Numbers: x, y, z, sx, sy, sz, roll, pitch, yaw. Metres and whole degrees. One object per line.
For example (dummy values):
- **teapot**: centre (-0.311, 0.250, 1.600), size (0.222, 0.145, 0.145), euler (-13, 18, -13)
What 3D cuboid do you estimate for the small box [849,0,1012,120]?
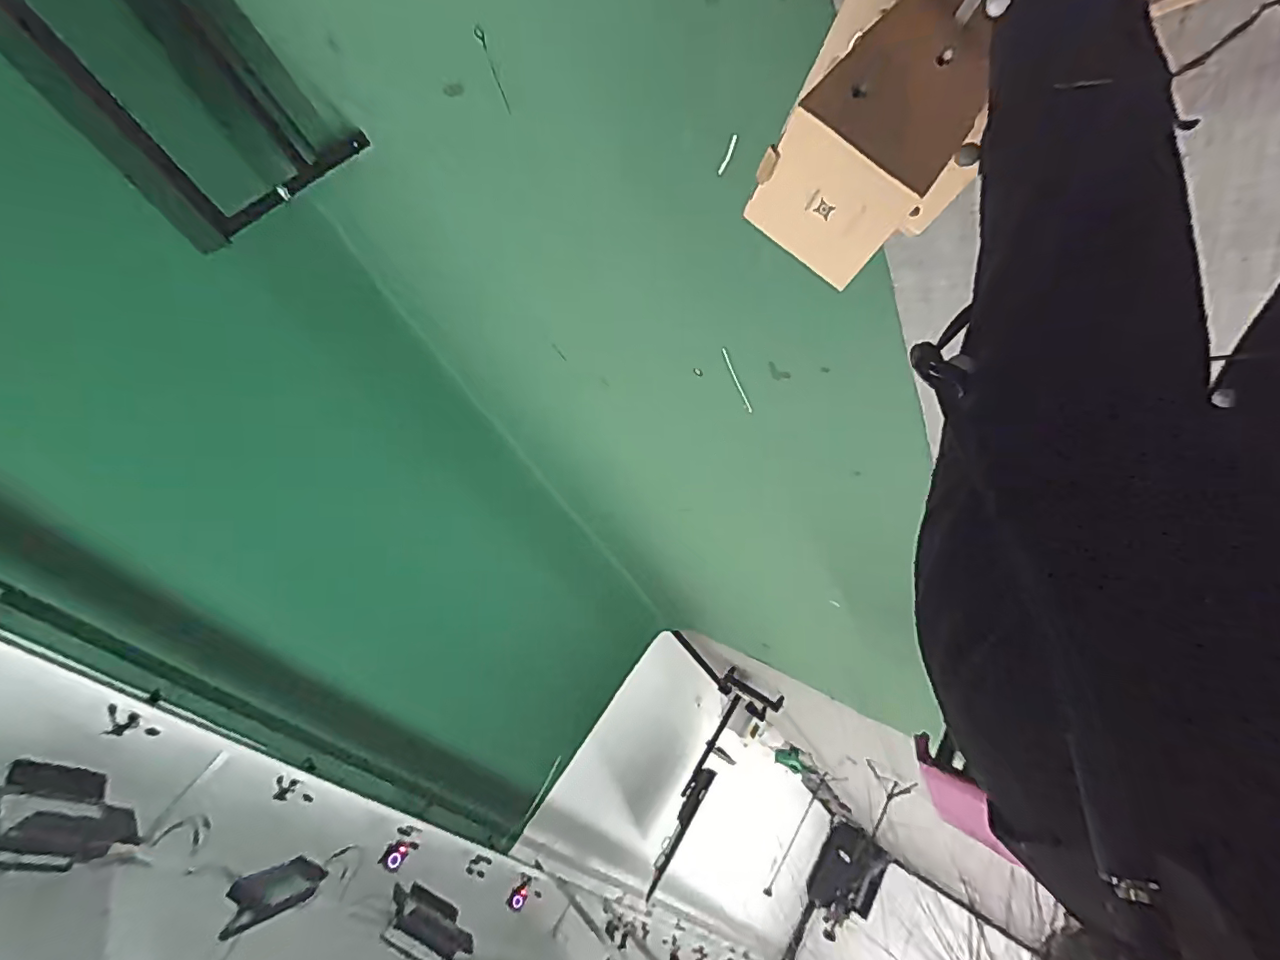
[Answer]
- **small box**: centre (0.362, -0.523, 0.751), size (0.179, 0.176, 0.168), euler (38, 159, -1)

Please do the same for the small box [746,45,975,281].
- **small box**: centre (0.274, -0.402, 0.687), size (0.179, 0.176, 0.168), euler (38, 159, 1)
